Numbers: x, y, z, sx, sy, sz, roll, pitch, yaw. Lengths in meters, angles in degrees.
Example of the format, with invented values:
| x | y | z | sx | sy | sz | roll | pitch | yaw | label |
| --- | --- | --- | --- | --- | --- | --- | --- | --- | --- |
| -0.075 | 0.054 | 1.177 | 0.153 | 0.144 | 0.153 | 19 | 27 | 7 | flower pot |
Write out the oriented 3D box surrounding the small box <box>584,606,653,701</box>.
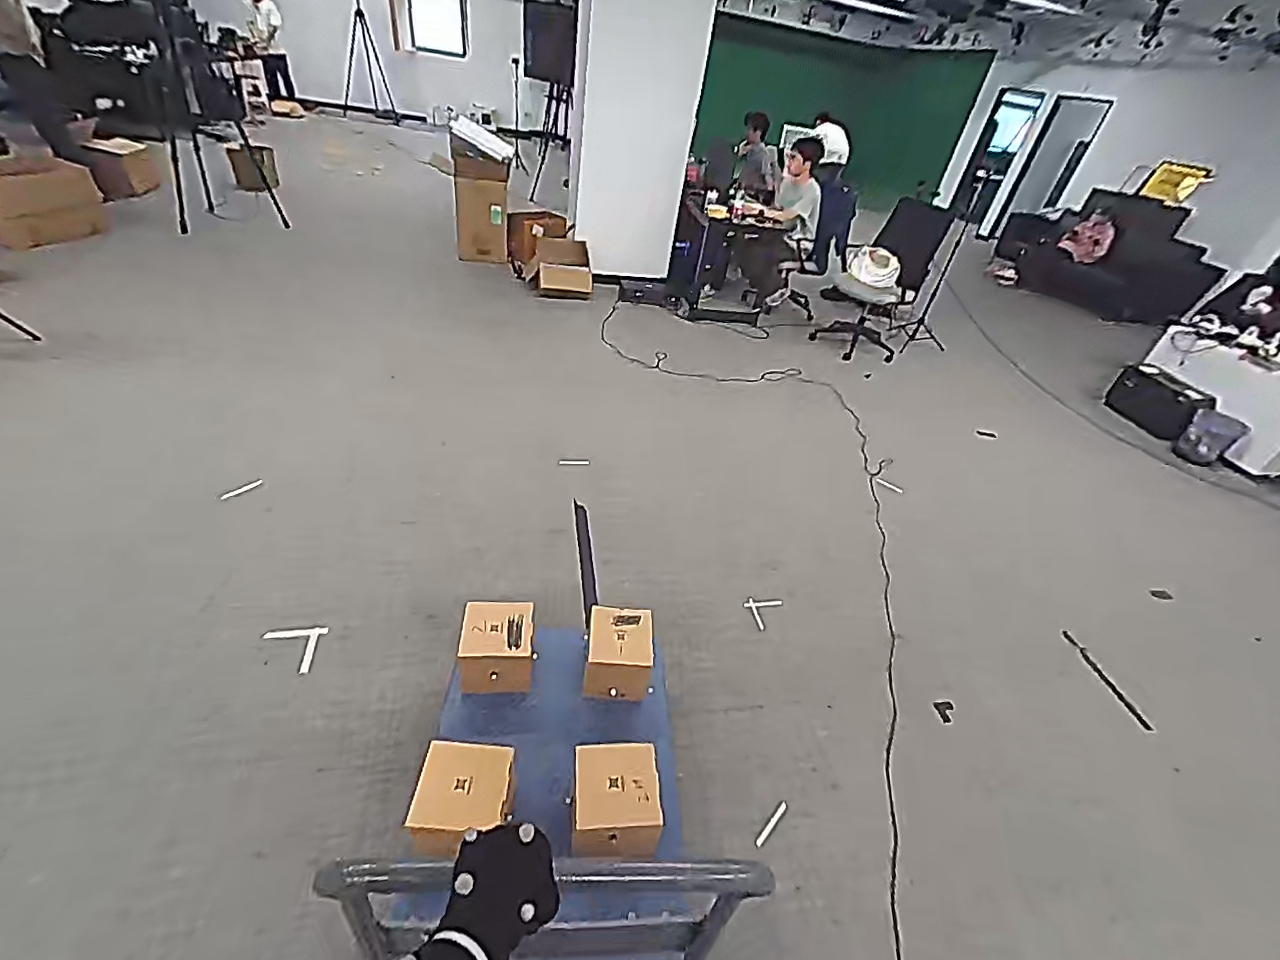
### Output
| x | y | z | sx | sy | sz | roll | pitch | yaw | label |
| --- | --- | --- | --- | --- | --- | --- | --- | --- | --- |
| -0.059 | 0.468 | 1.460 | 0.168 | 0.176 | 0.179 | 6 | 38 | -6 | small box |

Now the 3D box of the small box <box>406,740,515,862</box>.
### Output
| x | y | z | sx | sy | sz | roll | pitch | yaw | label |
| --- | --- | --- | --- | --- | --- | --- | --- | --- | --- |
| -0.364 | 0.669 | 1.124 | 0.179 | 0.176 | 0.168 | 8 | 37 | -5 | small box |

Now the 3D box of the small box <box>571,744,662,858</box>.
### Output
| x | y | z | sx | sy | sz | roll | pitch | yaw | label |
| --- | --- | --- | --- | --- | --- | --- | --- | --- | --- |
| -0.058 | 0.693 | 1.166 | 0.179 | 0.176 | 0.168 | 3 | 38 | -9 | small box |
